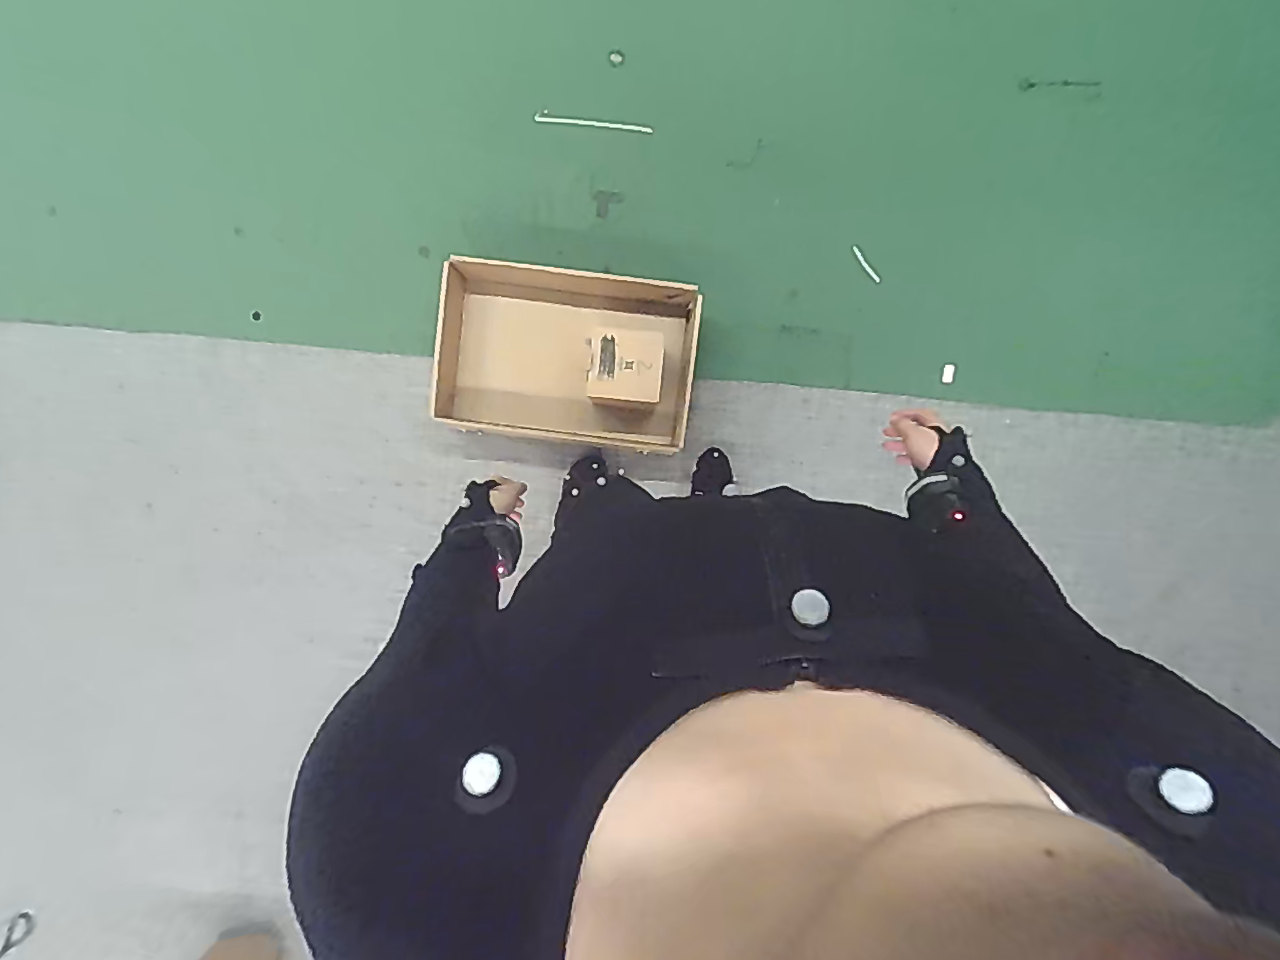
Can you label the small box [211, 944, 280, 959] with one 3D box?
[{"bbox_3d":[-1.086,1.378,1.432,0.179,0.176,0.168,-3,91,0],"label":"small box"}]
